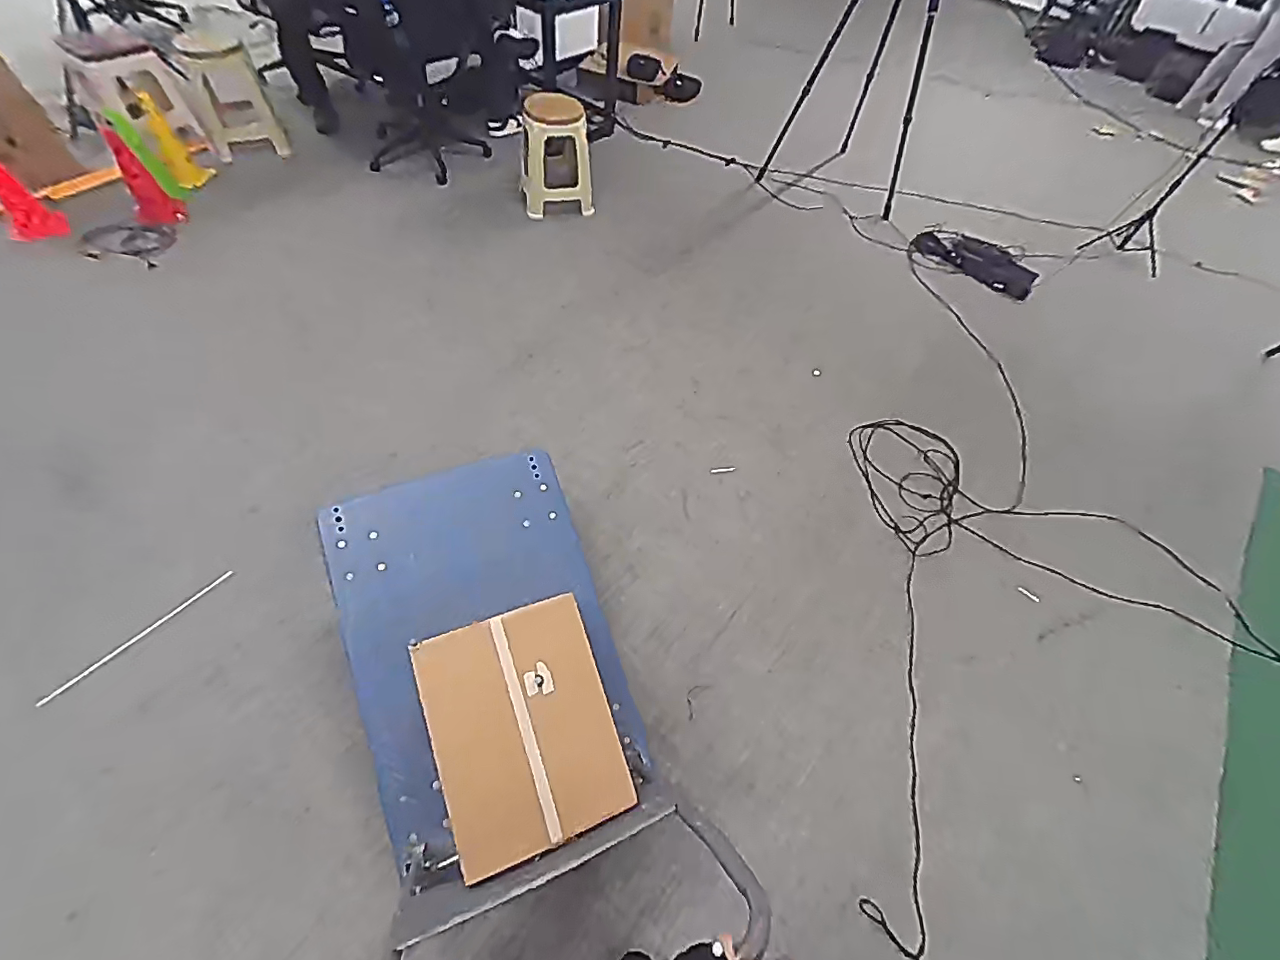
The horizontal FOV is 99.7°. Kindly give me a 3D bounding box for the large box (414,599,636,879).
[{"bbox_3d":[-0.243,0.504,1.137,0.320,0.320,0.408,-15,76,-19],"label":"large box"}]
